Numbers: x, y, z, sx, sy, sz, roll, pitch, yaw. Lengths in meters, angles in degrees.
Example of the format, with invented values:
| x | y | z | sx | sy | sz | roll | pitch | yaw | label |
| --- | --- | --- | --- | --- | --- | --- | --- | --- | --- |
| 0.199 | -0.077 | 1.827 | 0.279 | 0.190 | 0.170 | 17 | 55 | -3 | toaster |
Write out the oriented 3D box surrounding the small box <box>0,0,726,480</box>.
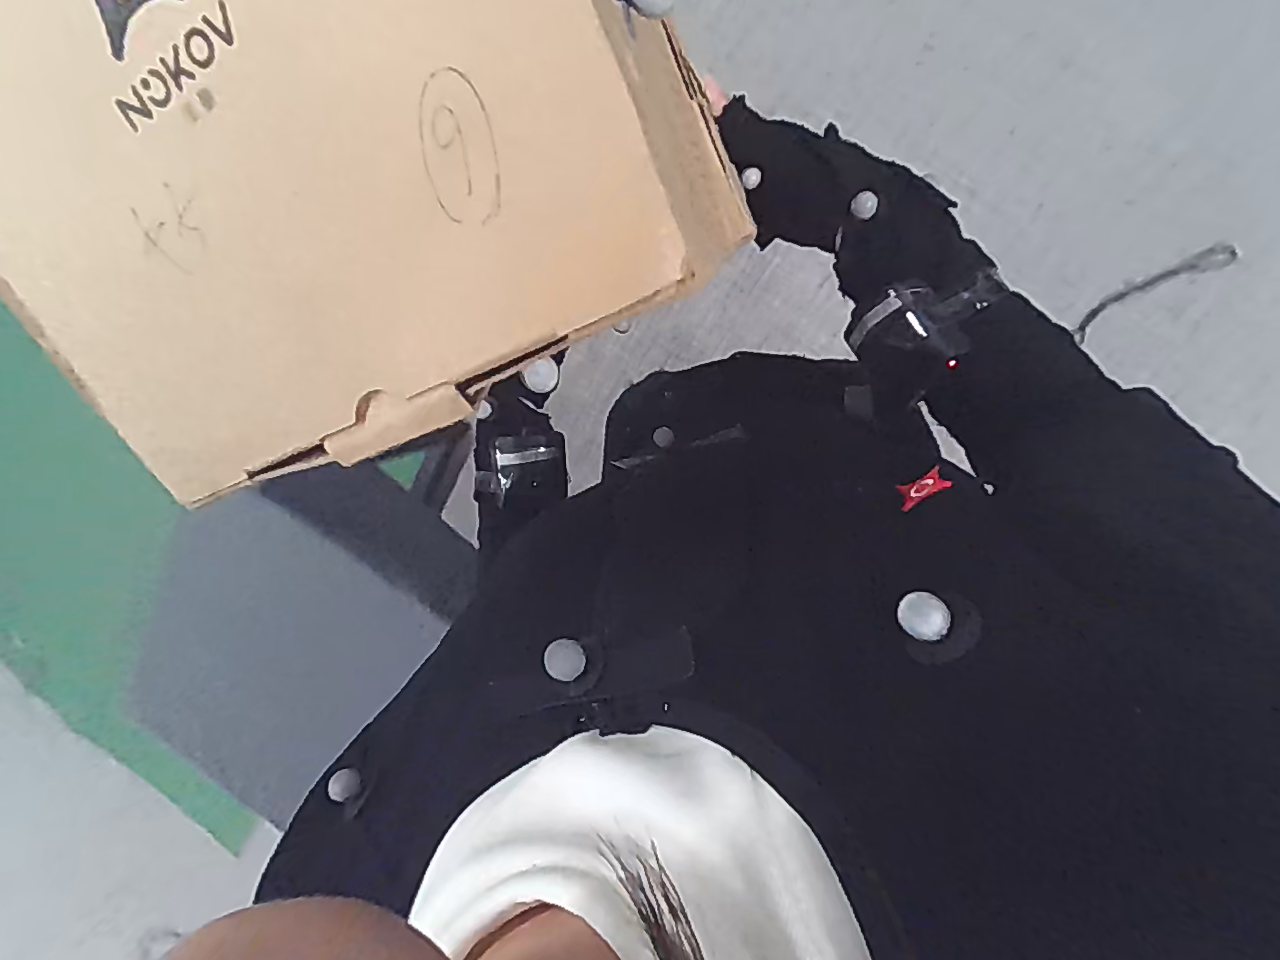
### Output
| x | y | z | sx | sy | sz | roll | pitch | yaw | label |
| --- | --- | --- | --- | --- | --- | --- | --- | --- | --- |
| -0.077 | -0.128 | 0.176 | 0.168 | 0.176 | 0.179 | -16 | 111 | 20 | small box |
